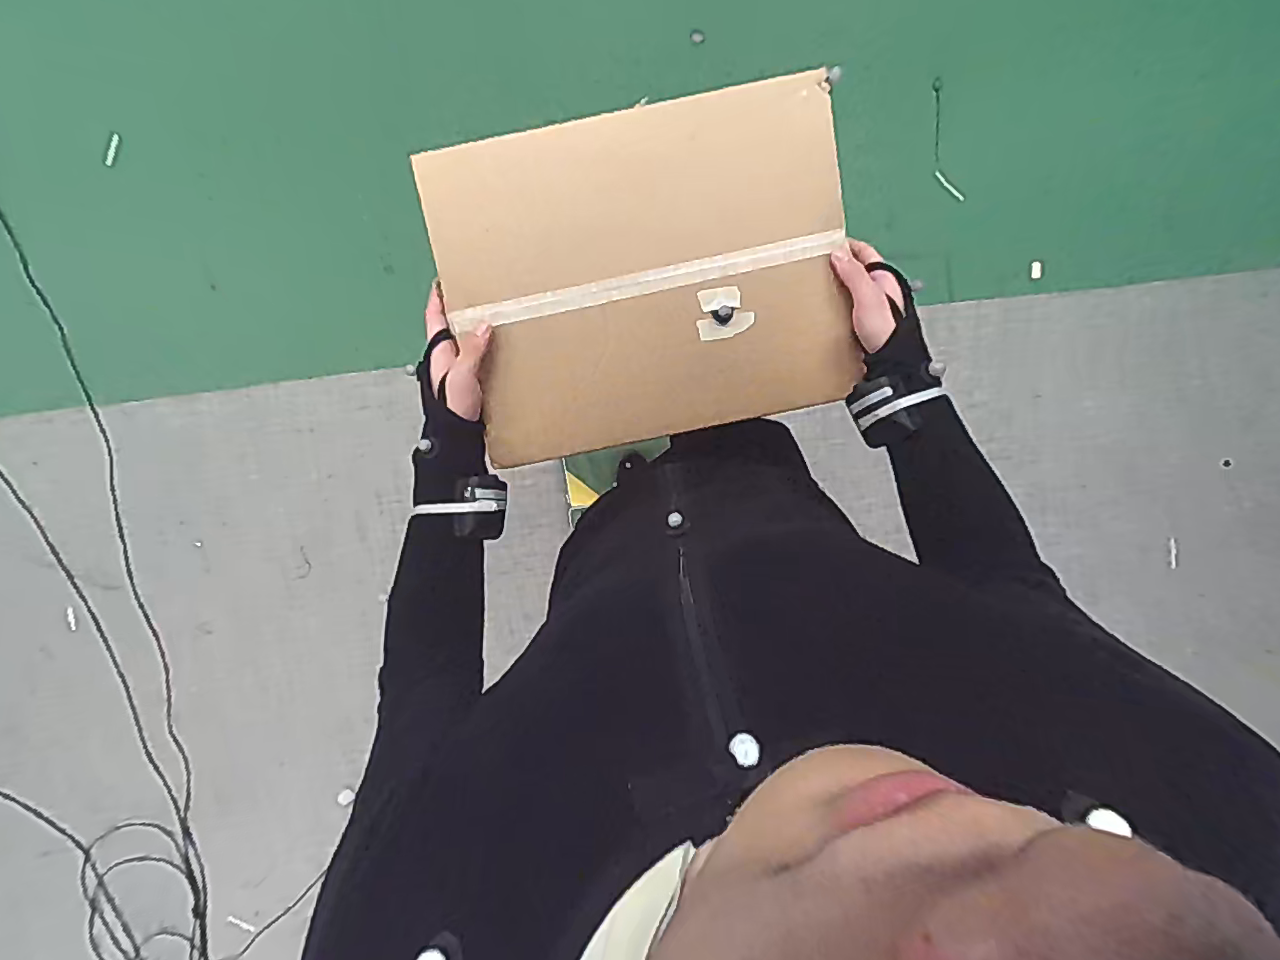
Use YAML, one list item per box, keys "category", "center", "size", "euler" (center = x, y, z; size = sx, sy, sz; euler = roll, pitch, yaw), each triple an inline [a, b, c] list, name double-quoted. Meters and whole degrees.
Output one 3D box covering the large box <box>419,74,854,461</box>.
- category: "large box"
  center: [-0.001, -0.233, 0.701]
  size: [0.408, 0.320, 0.320]
  euler: [-12, 101, 0]
